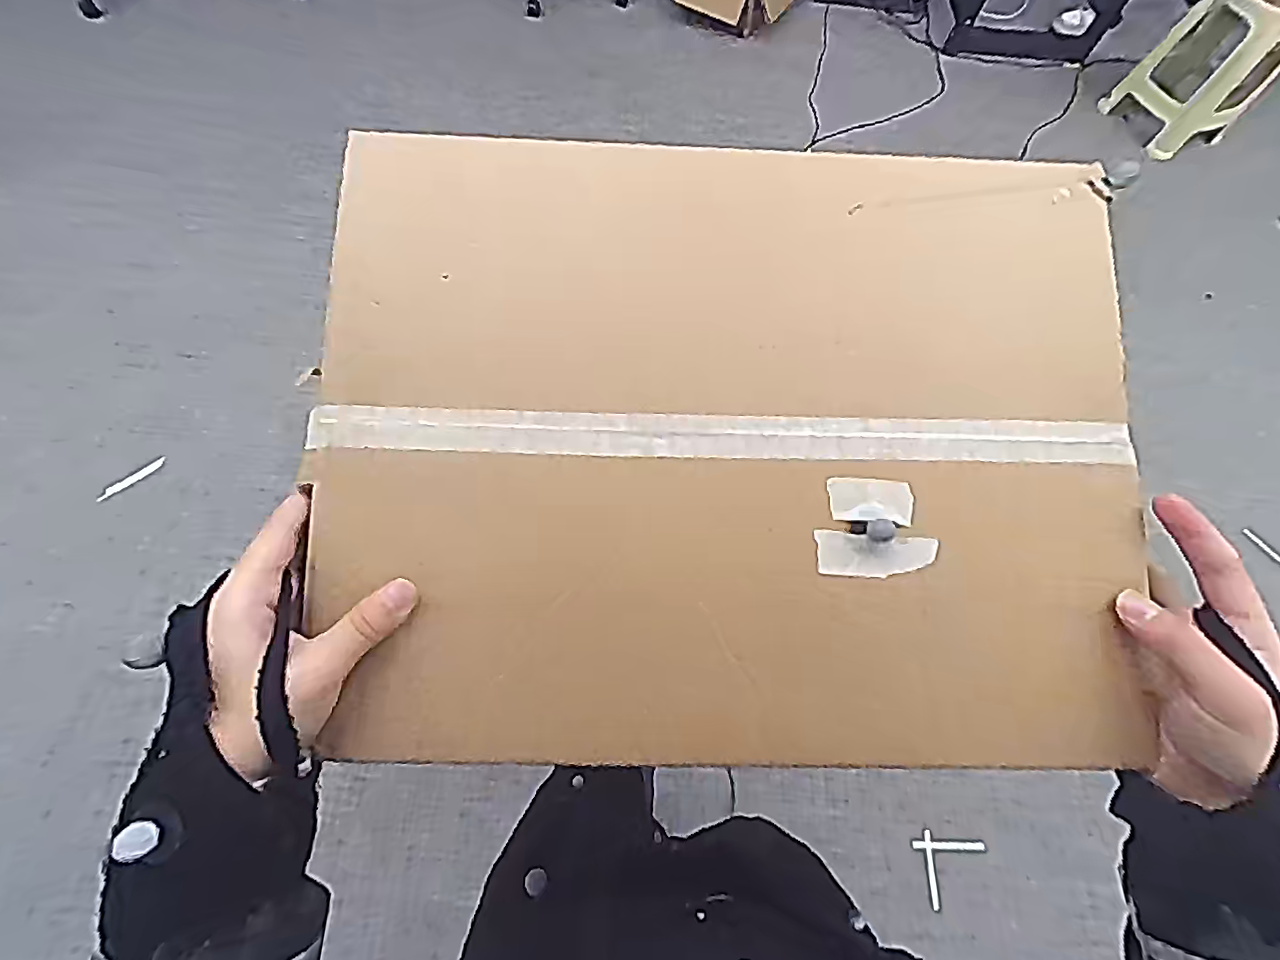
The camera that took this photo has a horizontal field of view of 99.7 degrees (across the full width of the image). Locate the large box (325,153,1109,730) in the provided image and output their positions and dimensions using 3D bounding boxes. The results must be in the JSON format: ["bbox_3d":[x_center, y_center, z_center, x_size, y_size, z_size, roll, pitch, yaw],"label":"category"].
[{"bbox_3d":[0.037,-0.010,0.435,0.408,0.320,0.320,1,84,-2],"label":"large box"}]
